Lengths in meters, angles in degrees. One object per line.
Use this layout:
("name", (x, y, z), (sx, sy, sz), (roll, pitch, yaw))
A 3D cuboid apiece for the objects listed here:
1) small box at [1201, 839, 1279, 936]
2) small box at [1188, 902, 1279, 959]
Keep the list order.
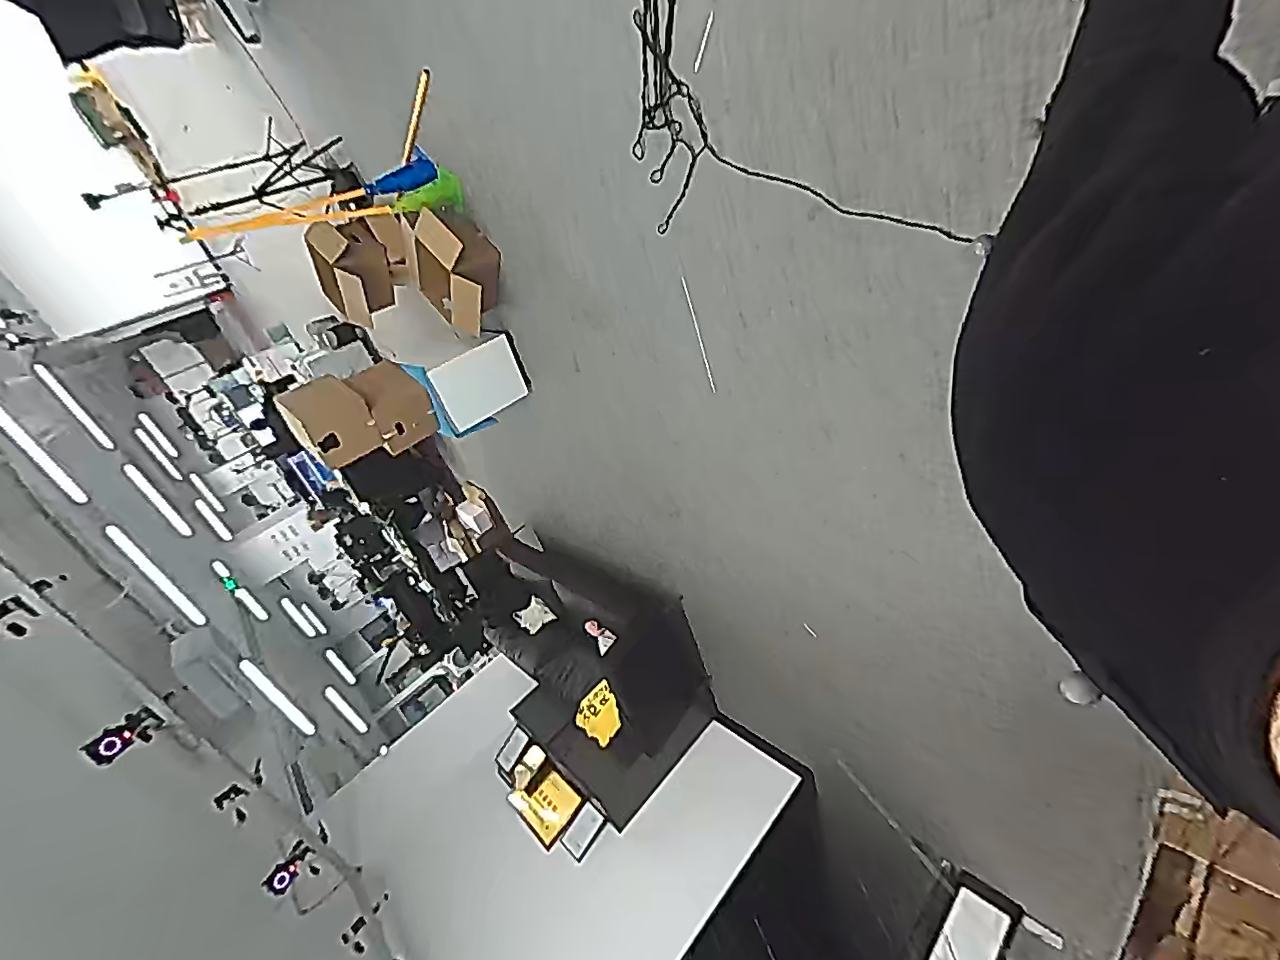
("small box", (1.379, 0.949, 1.192), (0.168, 0.176, 0.179), (-3, 120, 56))
("small box", (1.264, 1.034, 1.113), (0.168, 0.176, 0.179), (-3, 121, 57))
